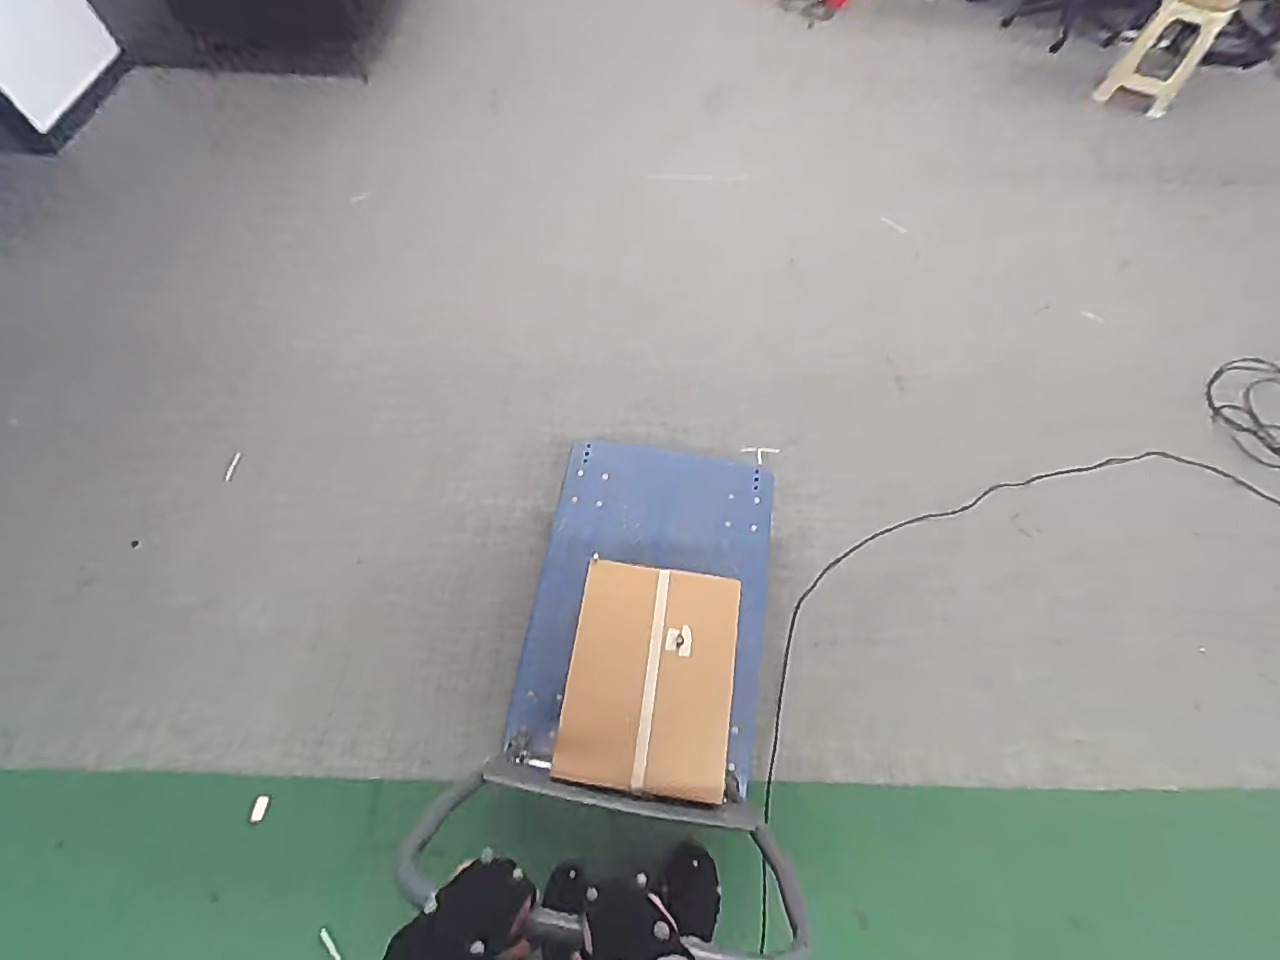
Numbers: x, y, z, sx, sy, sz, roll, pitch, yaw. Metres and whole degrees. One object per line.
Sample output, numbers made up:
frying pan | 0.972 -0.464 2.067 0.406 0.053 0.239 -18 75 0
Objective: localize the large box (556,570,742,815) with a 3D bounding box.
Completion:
large box | 0.029 0.443 1.152 0.320 0.320 0.408 8 66 3
